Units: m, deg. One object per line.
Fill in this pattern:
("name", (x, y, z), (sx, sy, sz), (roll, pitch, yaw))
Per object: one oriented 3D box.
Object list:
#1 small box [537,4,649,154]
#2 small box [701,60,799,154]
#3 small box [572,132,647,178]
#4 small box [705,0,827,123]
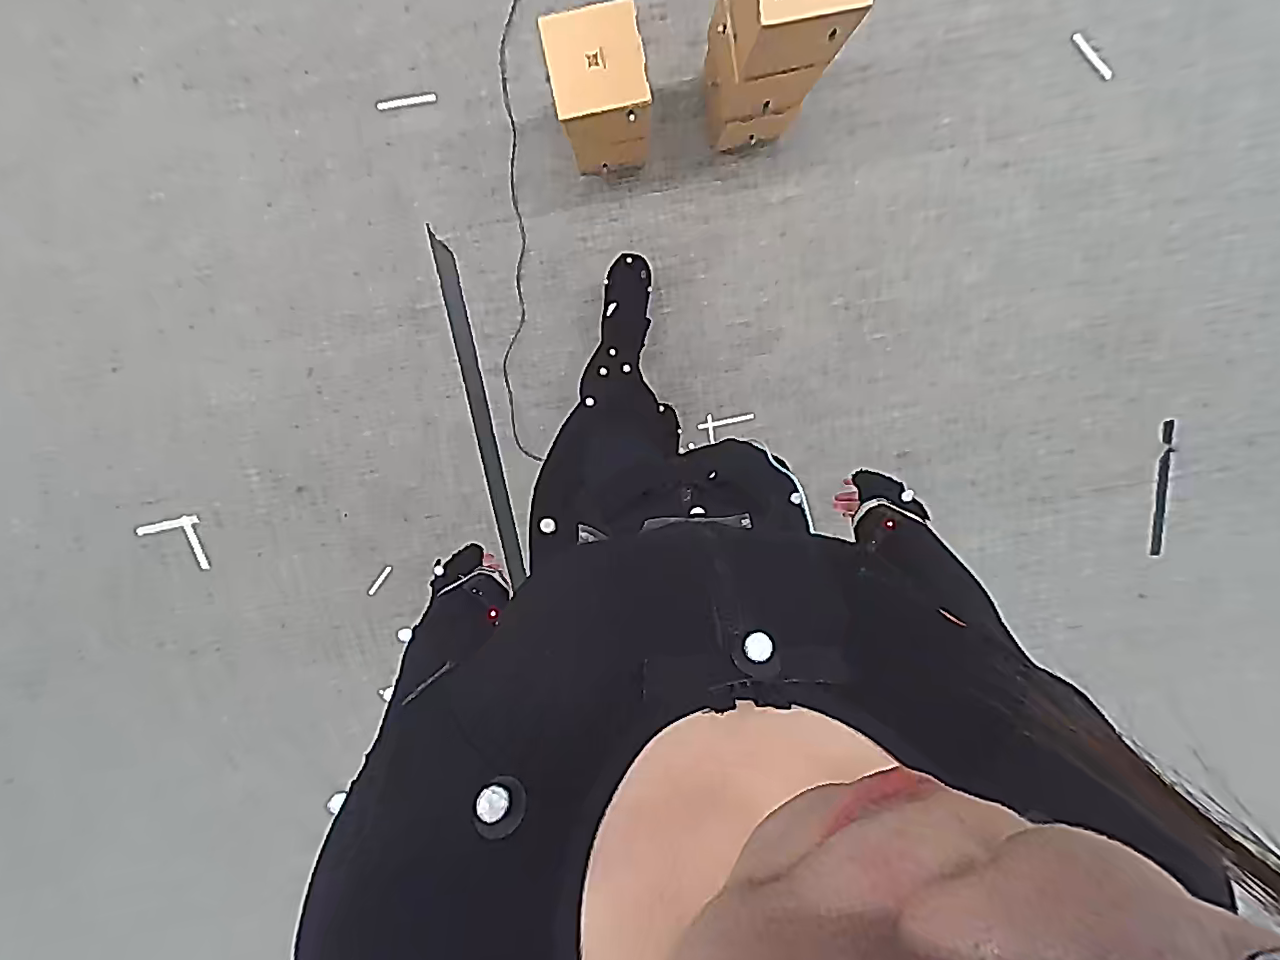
("small box", (-0.083, -0.761, 1.046), (0.179, 0.176, 0.168), (-12, 104, 2))
("small box", (0.236, -0.859, 1.197), (0.168, 0.176, 0.179), (-12, 104, 2))
("small box", (-0.079, -0.802, 1.203), (0.168, 0.176, 0.179), (-8, 105, 1))
("small box", (0.235, -0.820, 1.037), (0.179, 0.176, 0.168), (-12, 104, 0))
